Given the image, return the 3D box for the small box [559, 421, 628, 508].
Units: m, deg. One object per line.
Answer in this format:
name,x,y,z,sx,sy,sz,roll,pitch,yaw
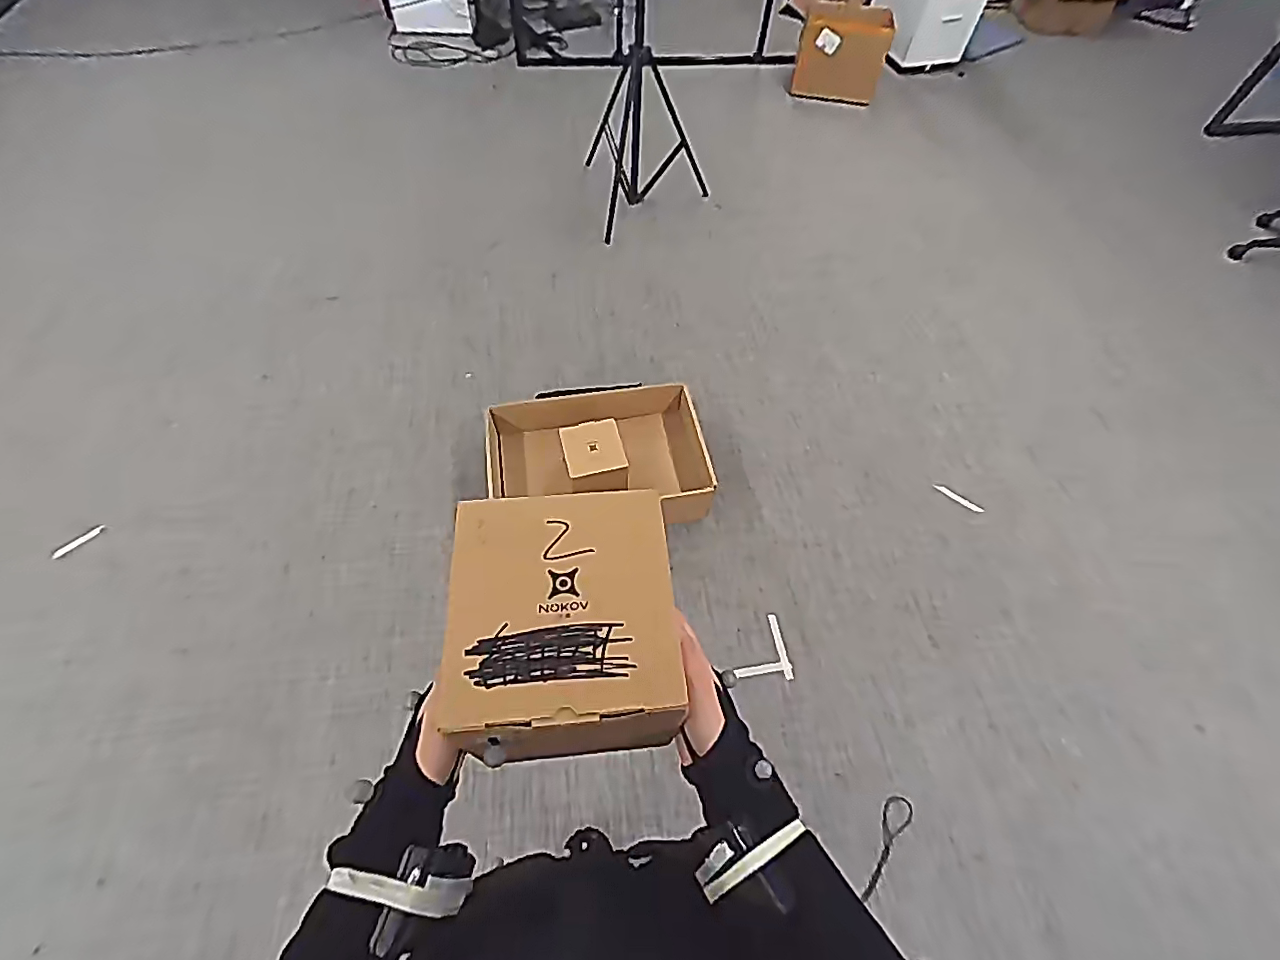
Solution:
small box,-0.138,-0.043,1.587,0.168,0.176,0.179,-13,61,-10
